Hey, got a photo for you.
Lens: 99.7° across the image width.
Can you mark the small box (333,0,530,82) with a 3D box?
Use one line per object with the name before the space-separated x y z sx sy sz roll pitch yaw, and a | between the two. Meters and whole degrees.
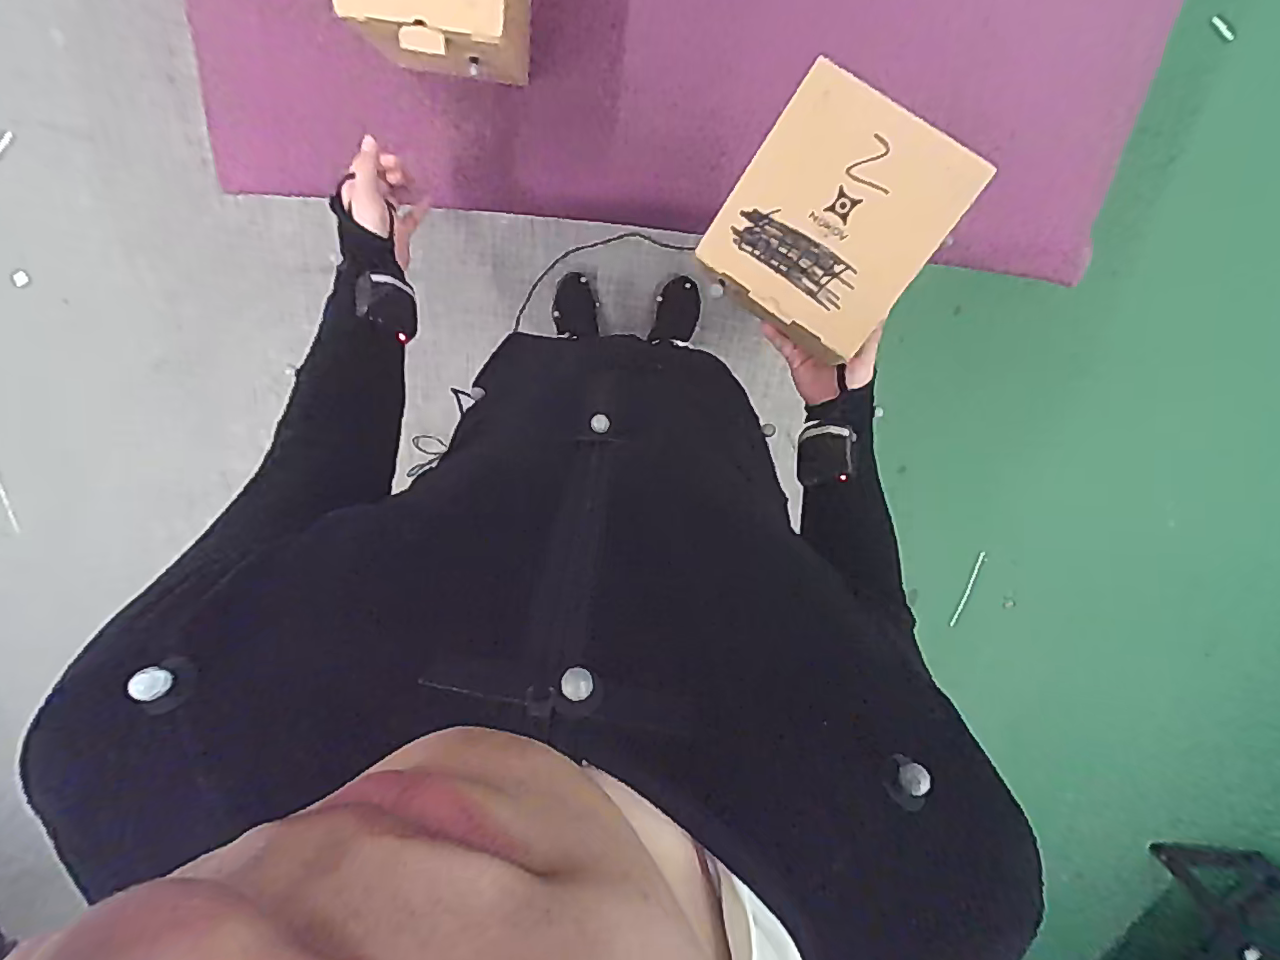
small box | -0.210 -0.559 0.577 0.168 0.176 0.179 7 112 -5
